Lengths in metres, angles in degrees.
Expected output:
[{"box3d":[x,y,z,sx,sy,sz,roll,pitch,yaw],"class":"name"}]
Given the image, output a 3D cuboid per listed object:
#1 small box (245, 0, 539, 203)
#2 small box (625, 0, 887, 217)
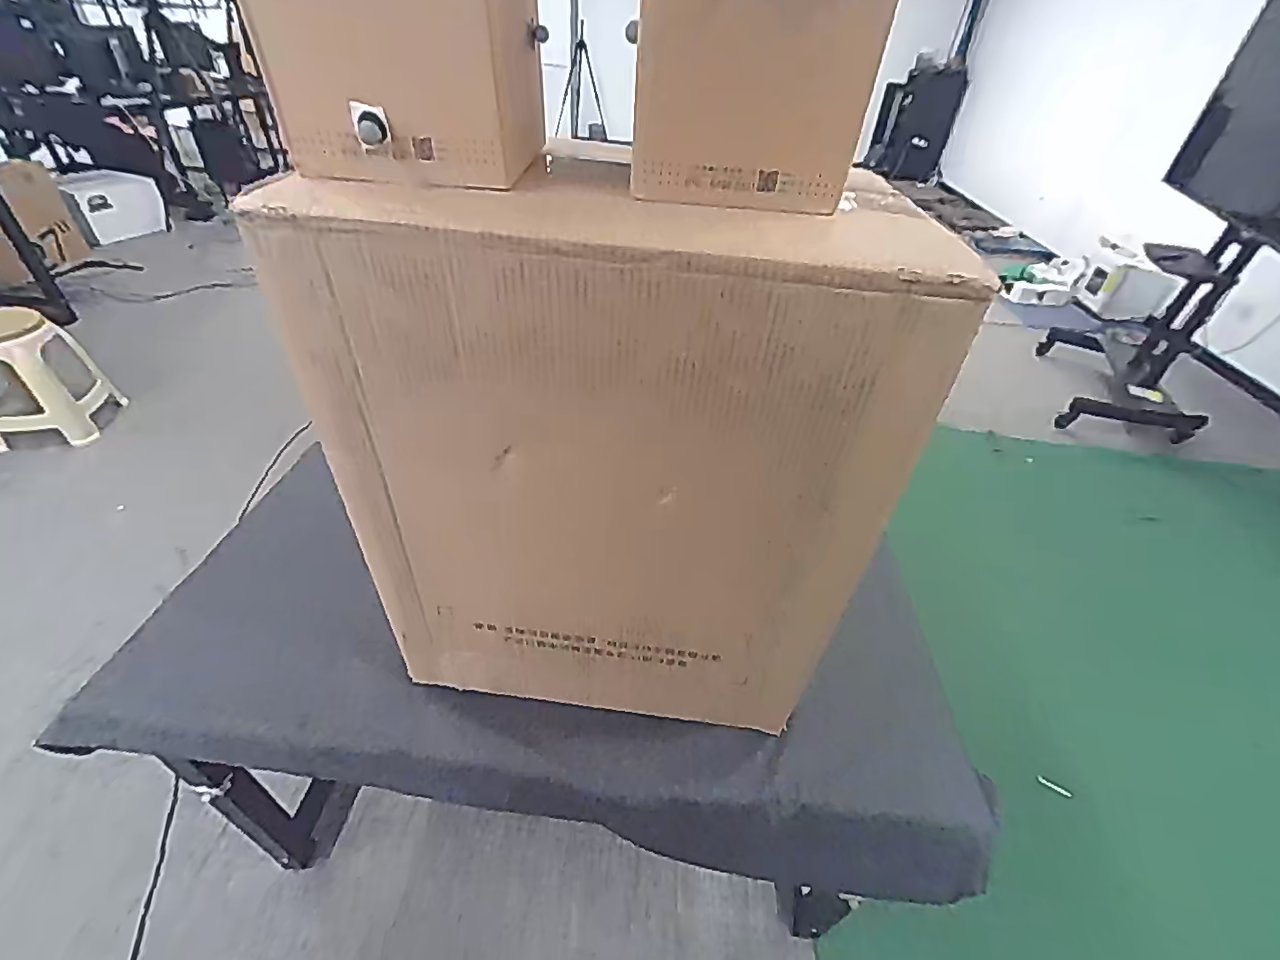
[{"box3d":[-0.179,-0.338,0.429,0.168,0.176,0.179,1,43,1],"class":"small box"},{"box3d":[0.075,-0.330,0.435,0.168,0.176,0.179,3,42,-1],"class":"small box"}]
